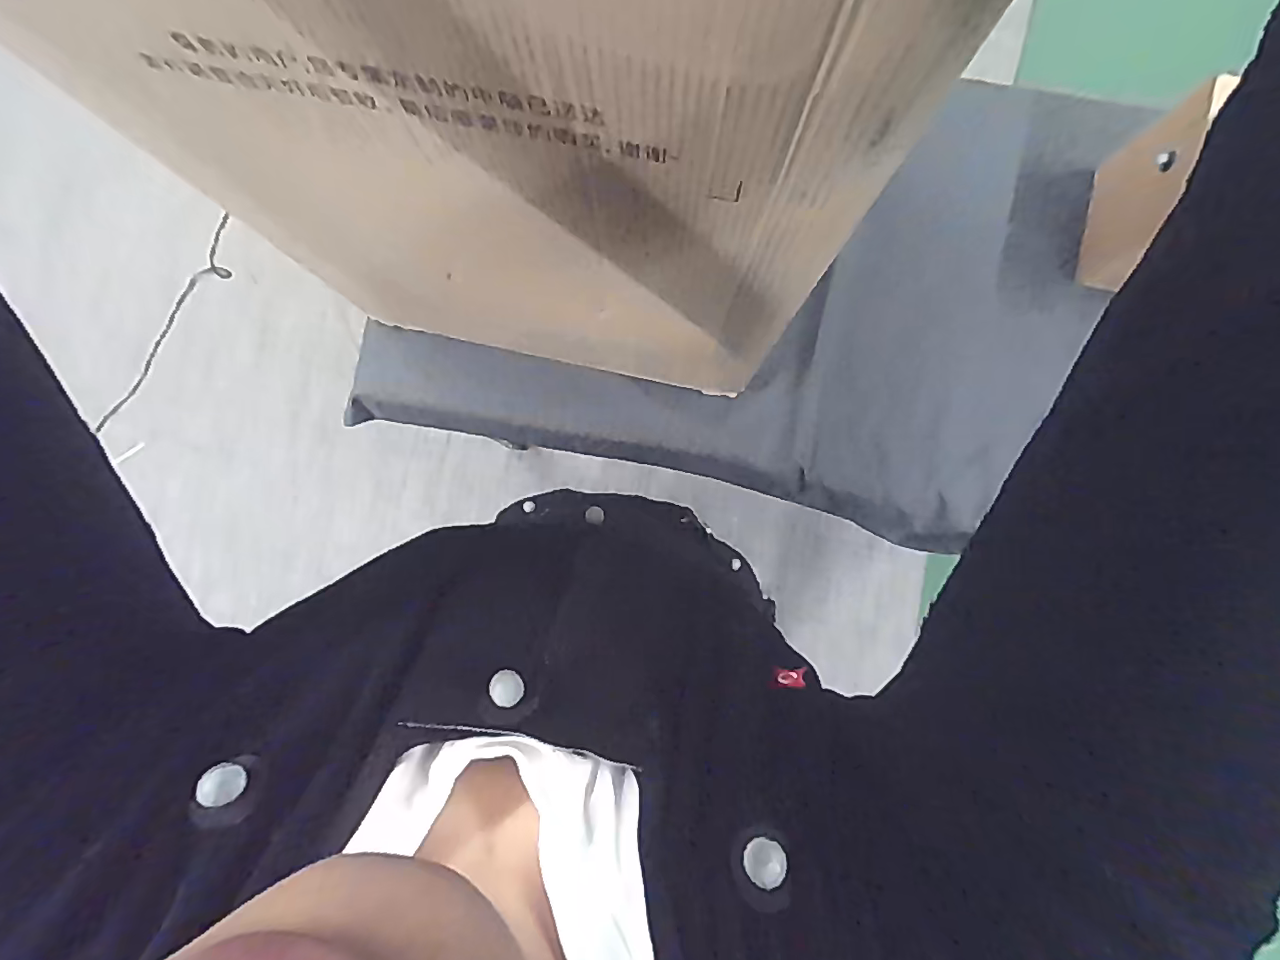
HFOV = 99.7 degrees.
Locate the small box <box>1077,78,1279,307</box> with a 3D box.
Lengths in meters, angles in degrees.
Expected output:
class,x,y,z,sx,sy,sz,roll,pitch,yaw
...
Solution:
class,x,y,z,sx,sy,sz,roll,pitch,yaw
small box,0.705,-0.348,0.684,0.168,0.176,0.179,14,87,2
